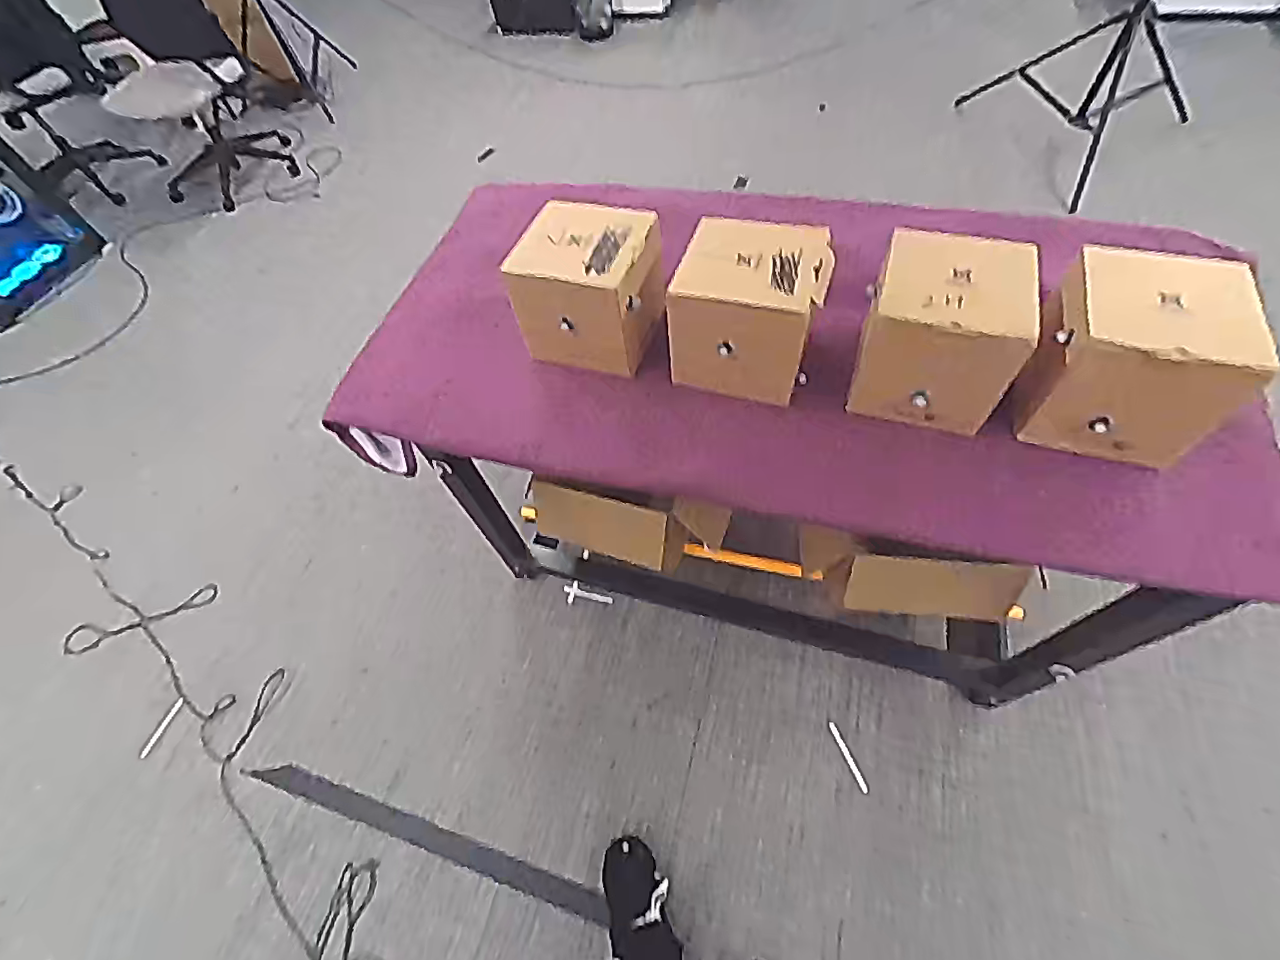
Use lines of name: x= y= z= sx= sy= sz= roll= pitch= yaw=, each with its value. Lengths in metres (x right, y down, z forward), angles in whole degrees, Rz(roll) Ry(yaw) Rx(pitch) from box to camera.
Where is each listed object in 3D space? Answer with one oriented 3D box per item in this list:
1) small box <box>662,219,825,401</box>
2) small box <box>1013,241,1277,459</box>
small box: x=0.144 y=-0.233 z=0.757 sx=0.179 sy=0.176 sz=0.168 roll=13 pitch=60 yaw=16
small box: x=0.579 y=-0.155 z=0.653 sx=0.168 sy=0.176 sz=0.179 roll=14 pitch=59 yaw=16
